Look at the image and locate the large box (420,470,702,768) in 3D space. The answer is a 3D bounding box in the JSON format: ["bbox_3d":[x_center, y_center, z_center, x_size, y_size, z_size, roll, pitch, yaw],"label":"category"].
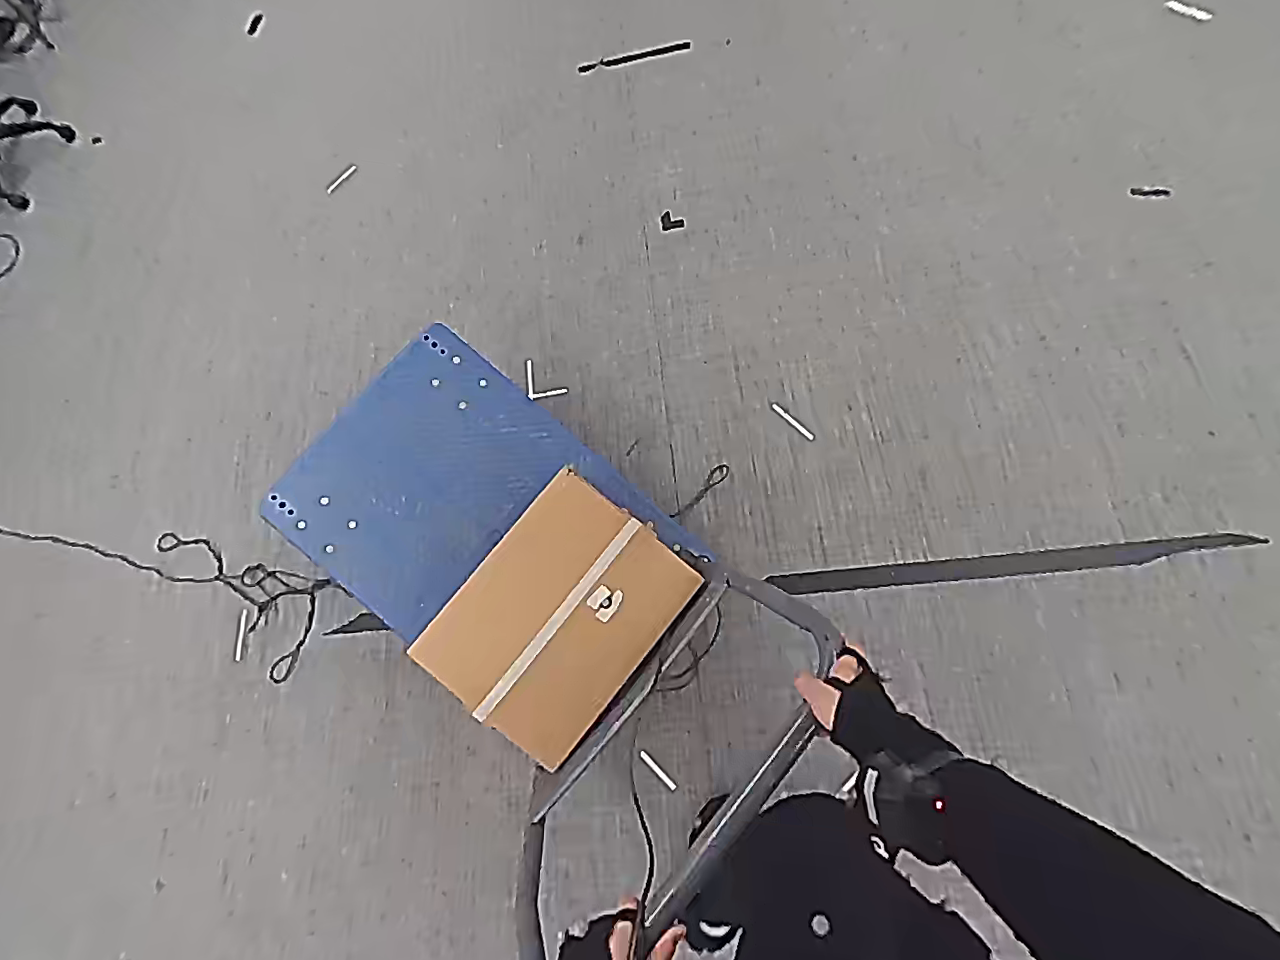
[{"bbox_3d":[-0.140,0.247,1.059,0.320,0.320,0.408,39,82,0],"label":"large box"}]
